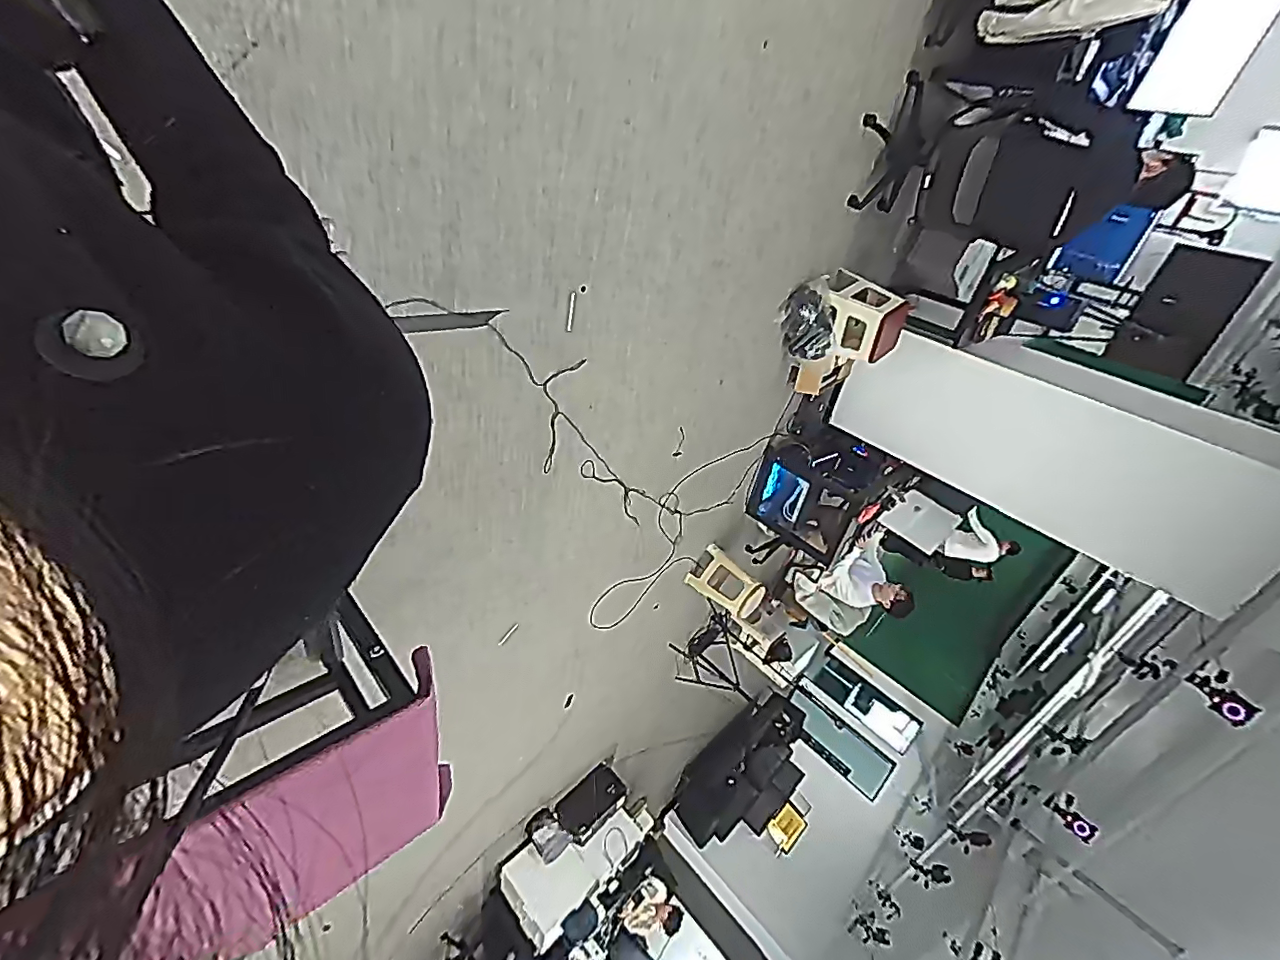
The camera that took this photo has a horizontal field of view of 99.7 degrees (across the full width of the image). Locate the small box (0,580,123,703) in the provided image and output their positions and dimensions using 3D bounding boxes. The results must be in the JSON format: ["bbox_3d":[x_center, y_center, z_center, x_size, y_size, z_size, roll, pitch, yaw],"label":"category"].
[{"bbox_3d":[-1.343,0.365,1.248,0.168,0.176,0.179,-23,135,-41],"label":"small box"}]
